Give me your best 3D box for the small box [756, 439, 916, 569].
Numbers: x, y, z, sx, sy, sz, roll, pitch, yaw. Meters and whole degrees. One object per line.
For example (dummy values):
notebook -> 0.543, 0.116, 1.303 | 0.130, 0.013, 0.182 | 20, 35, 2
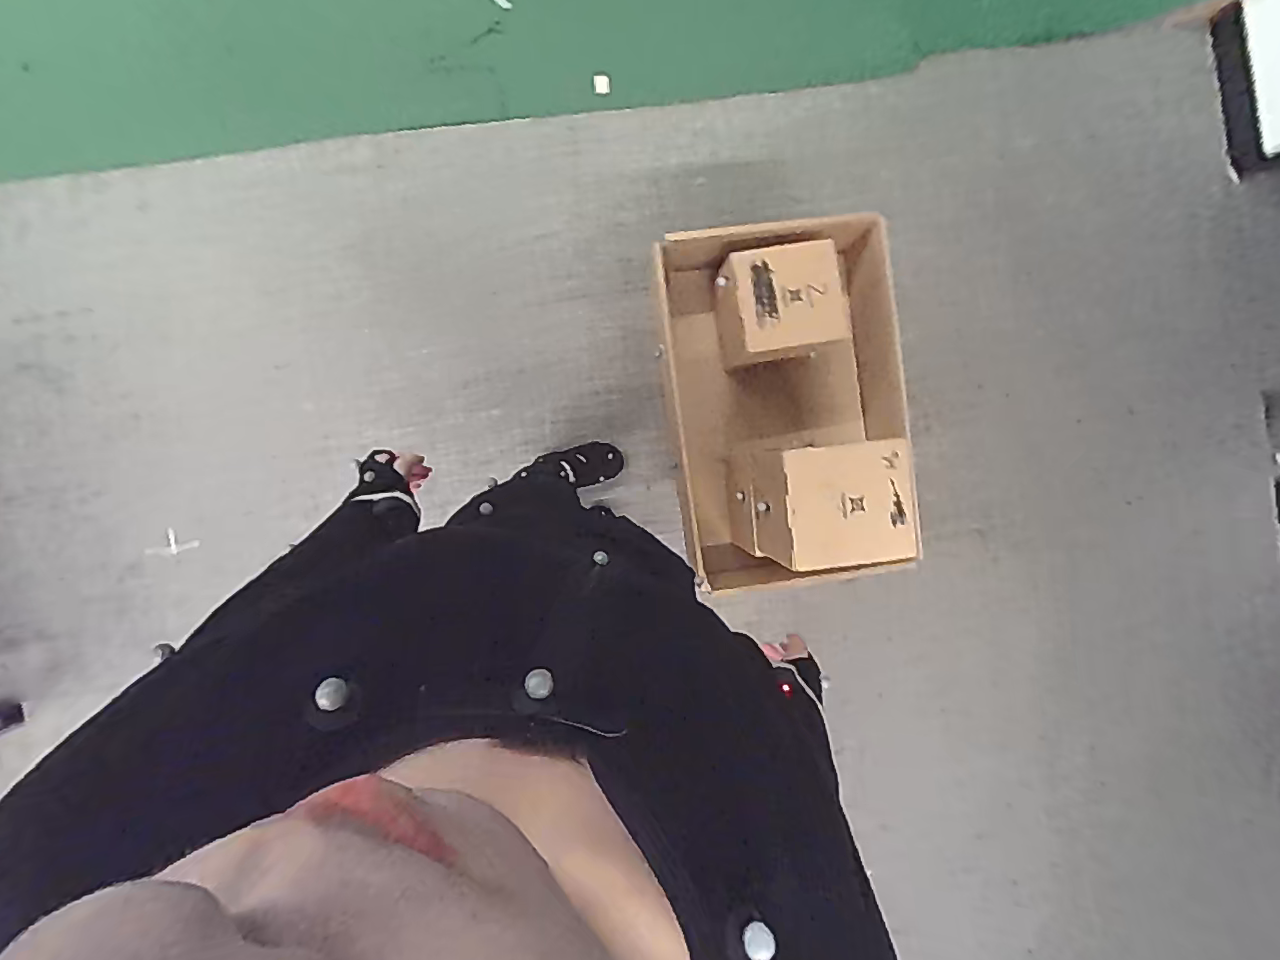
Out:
small box -> 0.277, 0.031, 0.803 | 0.179, 0.176, 0.168 | -5, 92, -3
